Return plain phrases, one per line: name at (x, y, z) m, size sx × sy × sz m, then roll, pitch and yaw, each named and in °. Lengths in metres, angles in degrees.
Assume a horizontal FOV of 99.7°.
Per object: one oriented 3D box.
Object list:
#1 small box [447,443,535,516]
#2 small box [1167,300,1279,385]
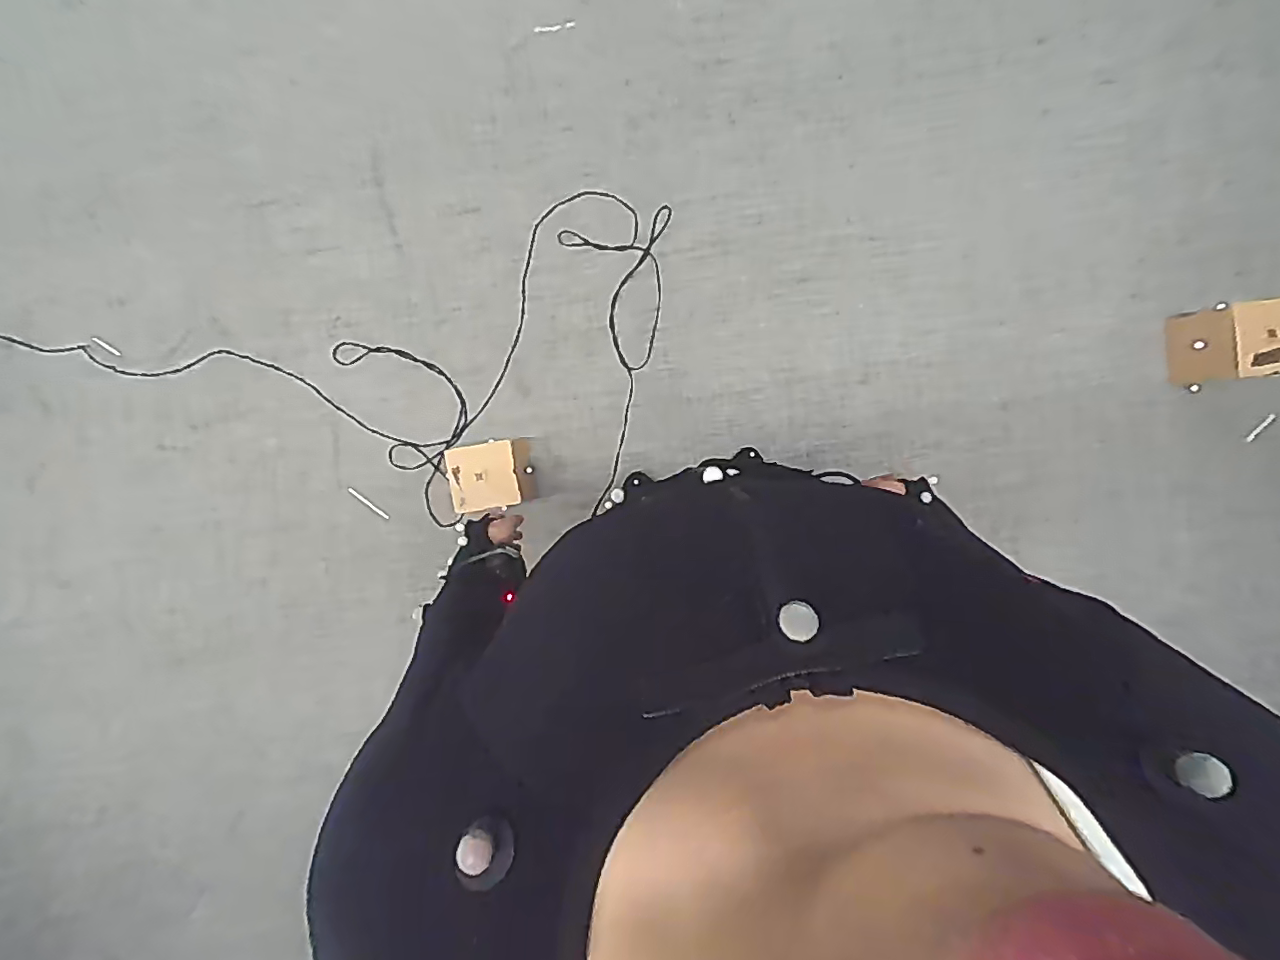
small box at (-0.383, -0.006, 1.429) m, size 0.179 × 0.176 × 0.168 m, roll -10°, pitch 92°, yaw 2°
small box at (1.462, -0.333, 1.335) m, size 0.168 × 0.176 × 0.179 m, roll -6°, pitch 92°, yaw 3°
